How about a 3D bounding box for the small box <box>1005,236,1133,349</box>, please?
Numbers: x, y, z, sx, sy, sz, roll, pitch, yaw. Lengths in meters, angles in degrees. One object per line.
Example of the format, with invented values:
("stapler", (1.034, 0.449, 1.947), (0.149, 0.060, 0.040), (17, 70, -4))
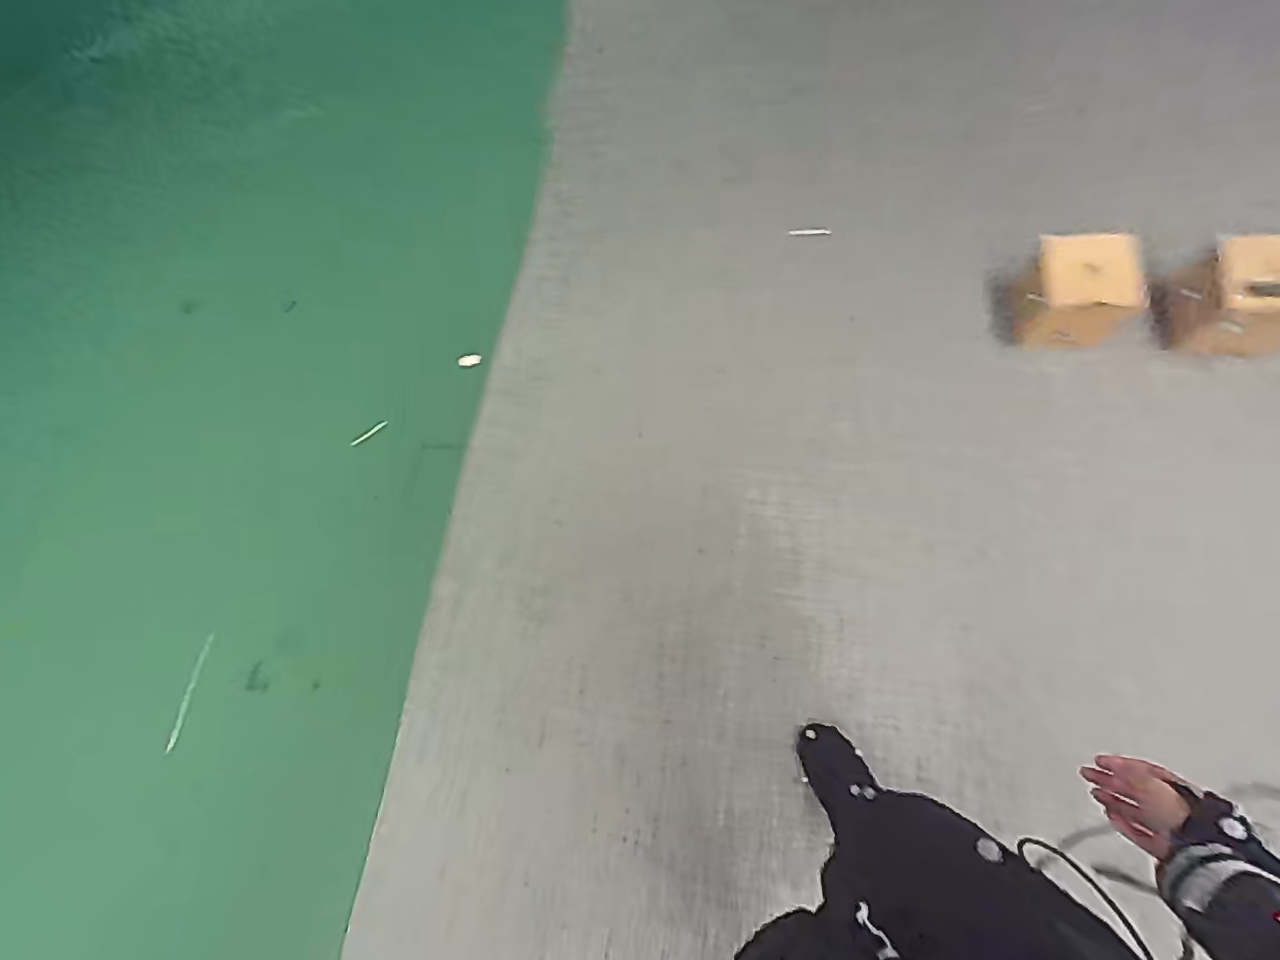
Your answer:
("small box", (0.941, -0.413, 1.205), (0.168, 0.176, 0.179), (3, 73, 13))
